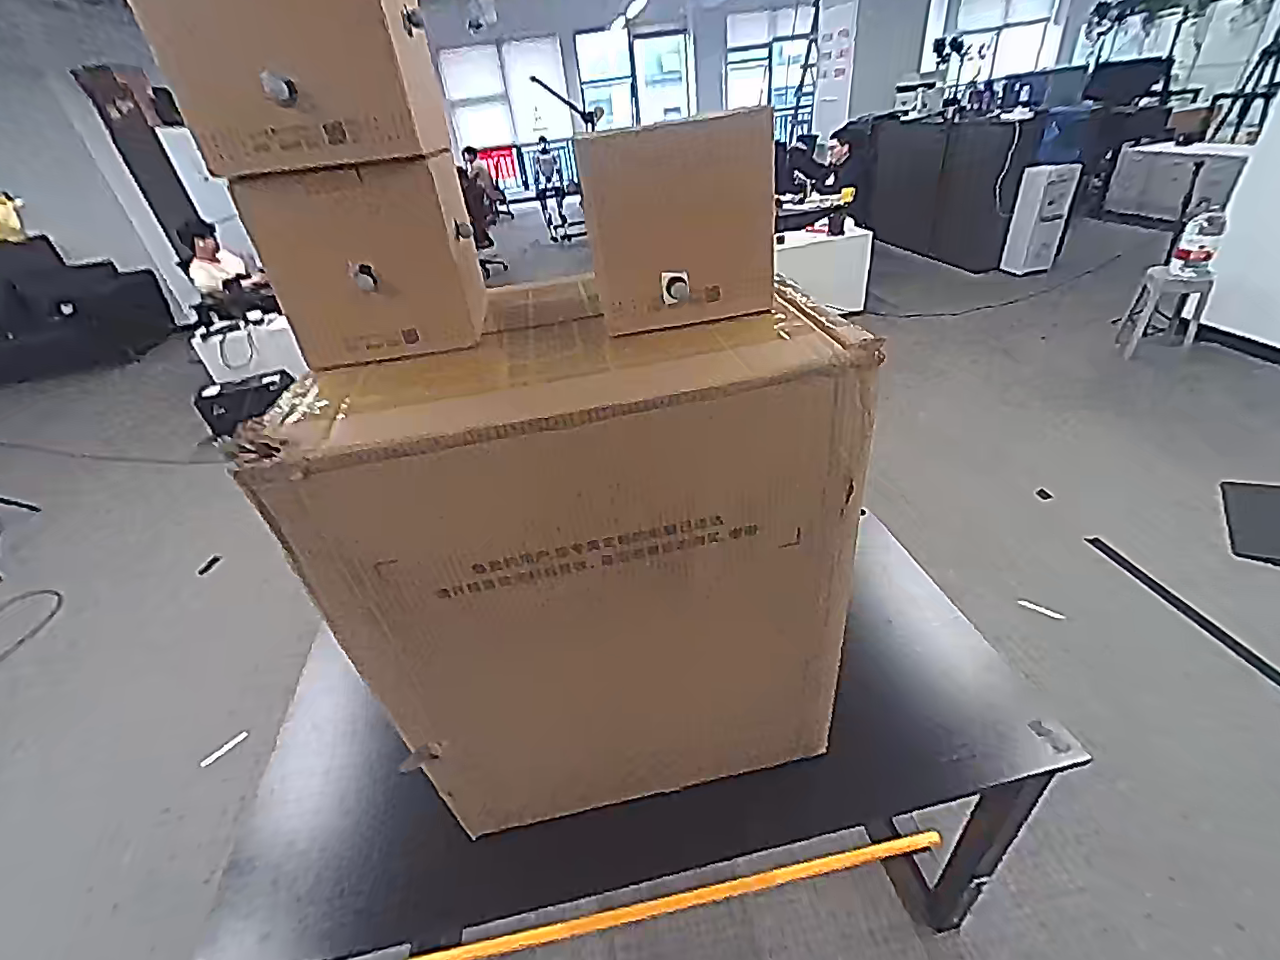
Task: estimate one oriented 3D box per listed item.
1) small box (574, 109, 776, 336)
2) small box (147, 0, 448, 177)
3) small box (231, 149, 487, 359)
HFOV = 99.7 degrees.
[{"bbox_3d":[0.030,-0.262,0.549,0.168,0.176,0.179,-11,35,-2],"label":"small box"},{"bbox_3d":[-0.273,-0.361,0.455,0.168,0.176,0.179,-9,35,-4],"label":"small box"},{"bbox_3d":[-0.263,-0.233,0.562,0.168,0.176,0.179,-10,35,-6],"label":"small box"}]
